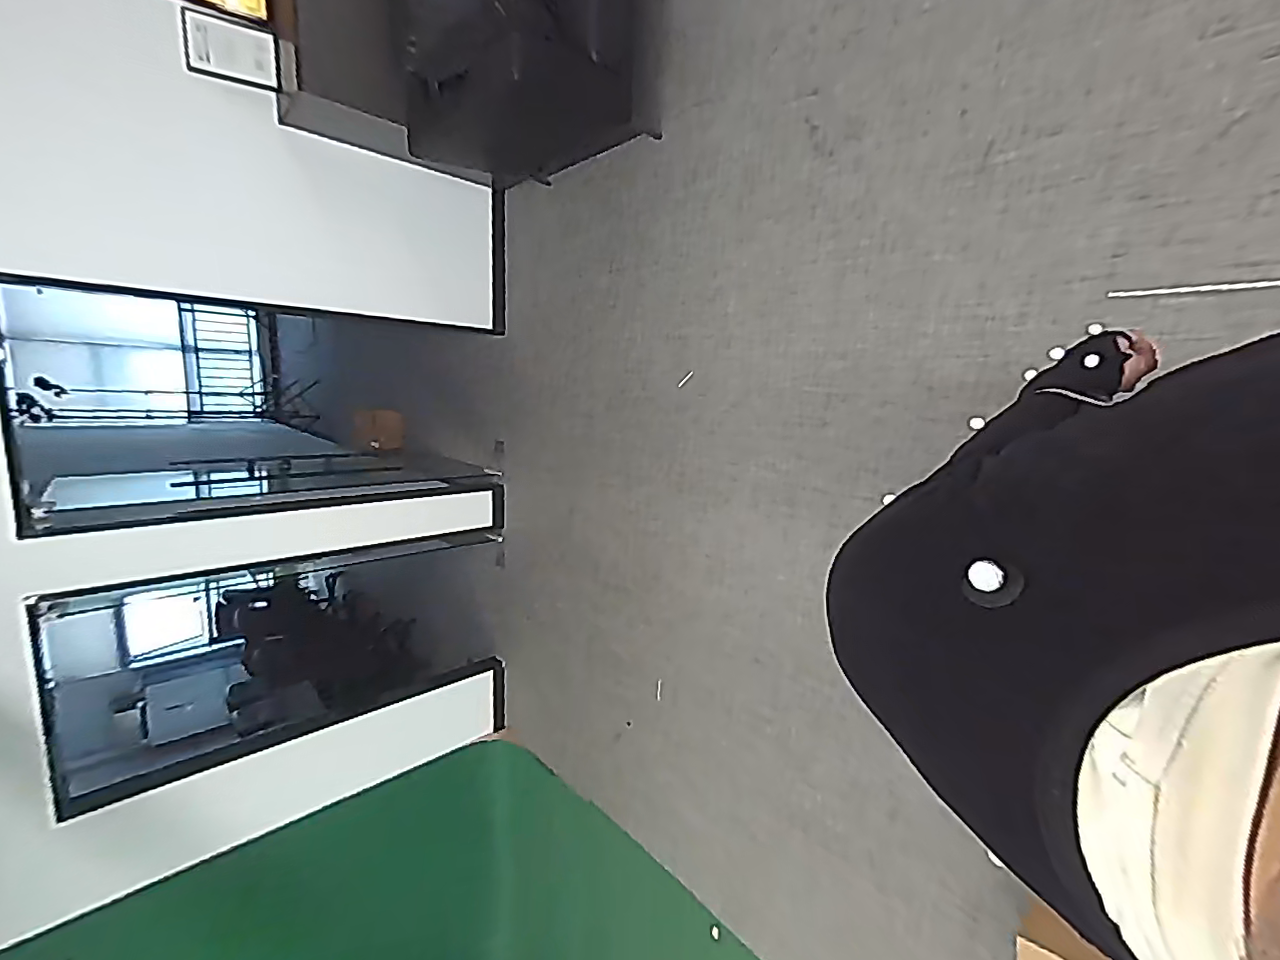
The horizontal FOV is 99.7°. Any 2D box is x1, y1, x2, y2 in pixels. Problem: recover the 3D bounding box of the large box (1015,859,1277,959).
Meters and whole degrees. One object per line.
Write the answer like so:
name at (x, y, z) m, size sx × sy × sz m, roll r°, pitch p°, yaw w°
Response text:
large box at (1.112, 1.158, 1.194) m, size 0.408 × 0.320 × 0.320 m, roll 1°, pitch 94°, yaw 48°
